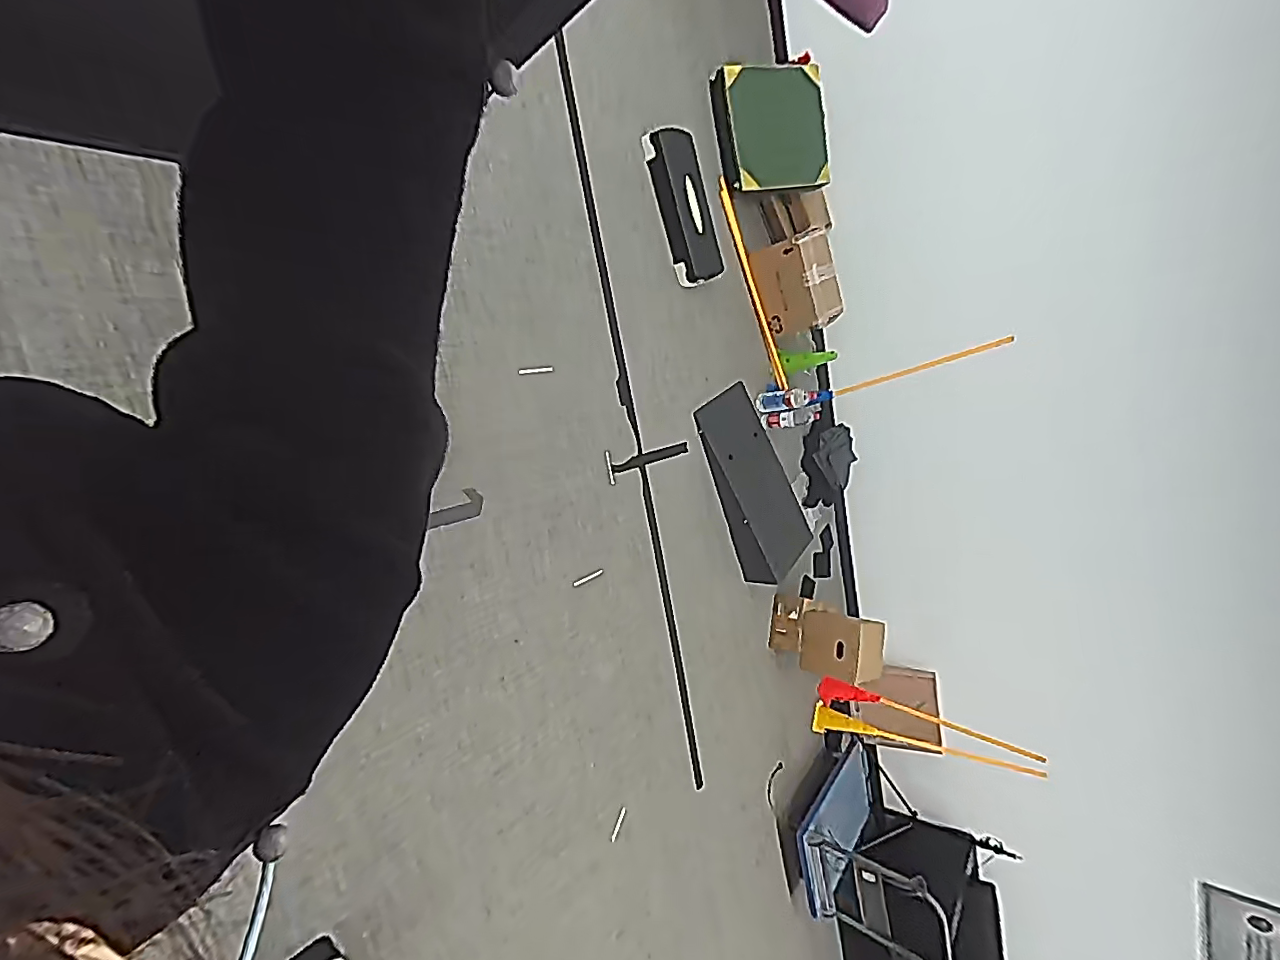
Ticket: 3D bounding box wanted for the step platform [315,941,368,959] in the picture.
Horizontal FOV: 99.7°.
[{"bbox_3d":[-0.880,1.351,1.110,0.684,0.204,0.286,-11,96,-48],"label":"step platform"}]
